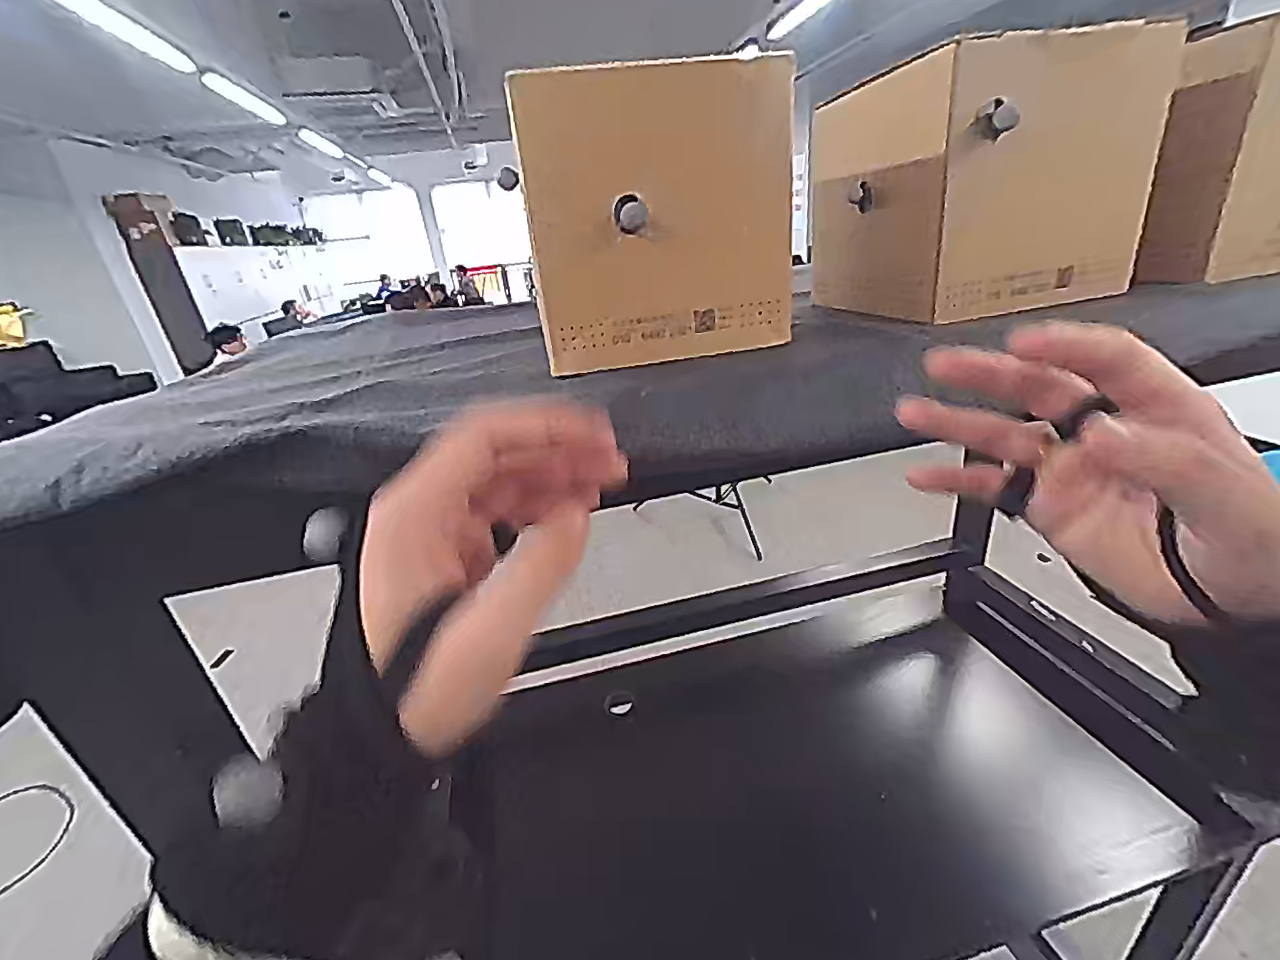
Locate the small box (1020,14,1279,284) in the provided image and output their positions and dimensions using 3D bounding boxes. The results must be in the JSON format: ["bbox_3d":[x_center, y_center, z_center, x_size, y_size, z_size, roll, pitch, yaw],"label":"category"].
[{"bbox_3d":[0.472,-0.267,0.464,0.168,0.176,0.179,-12,24,-8],"label":"small box"}]

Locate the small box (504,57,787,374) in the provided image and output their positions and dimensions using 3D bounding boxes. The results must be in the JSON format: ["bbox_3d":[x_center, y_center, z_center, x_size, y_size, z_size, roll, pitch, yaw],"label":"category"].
[{"bbox_3d":[0.001,-0.182,0.406,0.168,0.176,0.179,-10,23,-7],"label":"small box"}]
